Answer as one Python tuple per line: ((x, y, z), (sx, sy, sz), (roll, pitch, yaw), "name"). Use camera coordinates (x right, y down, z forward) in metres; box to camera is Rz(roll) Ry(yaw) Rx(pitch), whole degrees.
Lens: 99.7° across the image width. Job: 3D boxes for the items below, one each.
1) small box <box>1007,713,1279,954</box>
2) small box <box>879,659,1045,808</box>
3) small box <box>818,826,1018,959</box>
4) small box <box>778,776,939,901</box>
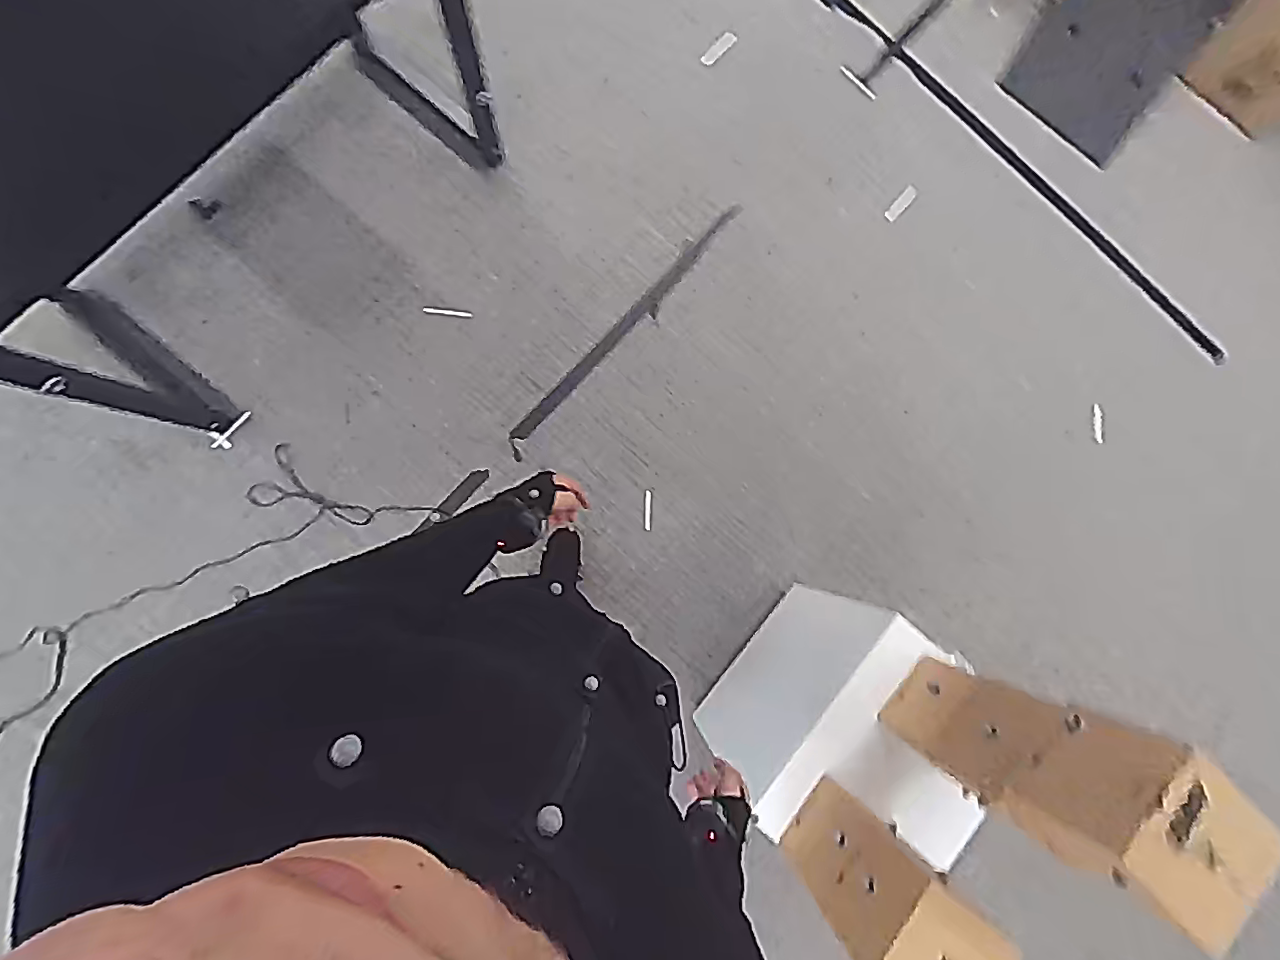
((0.641, 0.437, 0.710), (0.168, 0.176, 0.179), (-45, 93, -7), "small box")
((0.602, 0.468, 1.036), (0.179, 0.176, 0.168), (42, 83, -3), "small box")
((0.411, 0.678, 0.831), (0.179, 0.176, 0.168), (40, 82, -3), "small box")
((0.392, 0.689, 0.995), (0.179, 0.176, 0.168), (39, 82, -3), "small box")
